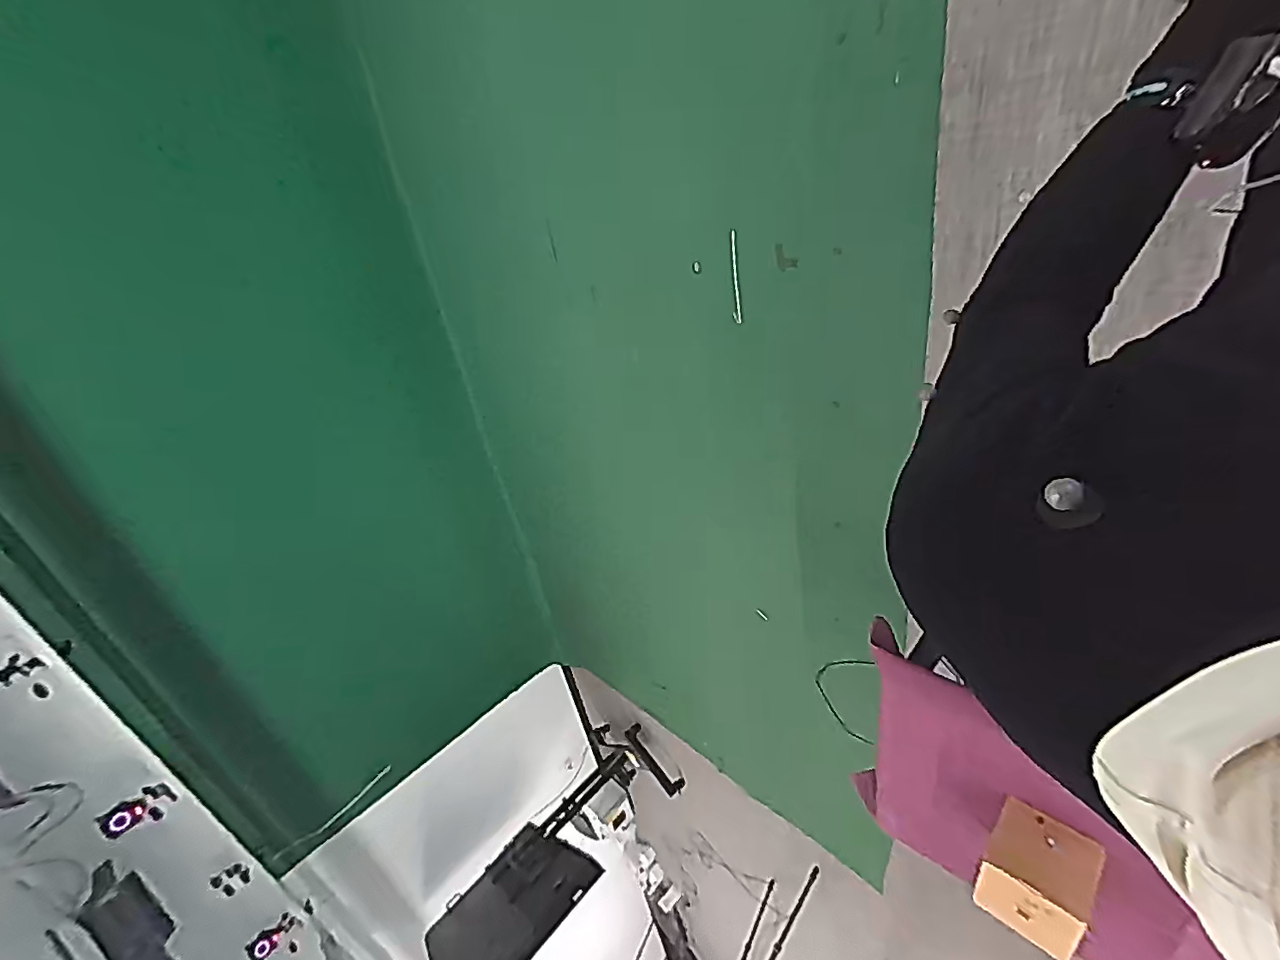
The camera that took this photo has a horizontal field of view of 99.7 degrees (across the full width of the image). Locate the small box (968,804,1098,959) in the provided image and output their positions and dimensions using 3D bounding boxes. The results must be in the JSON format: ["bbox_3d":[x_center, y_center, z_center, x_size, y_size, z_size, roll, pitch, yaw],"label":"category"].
[{"bbox_3d":[0.793,0.811,1.093,0.168,0.176,0.179,19,130,42],"label":"small box"}]
